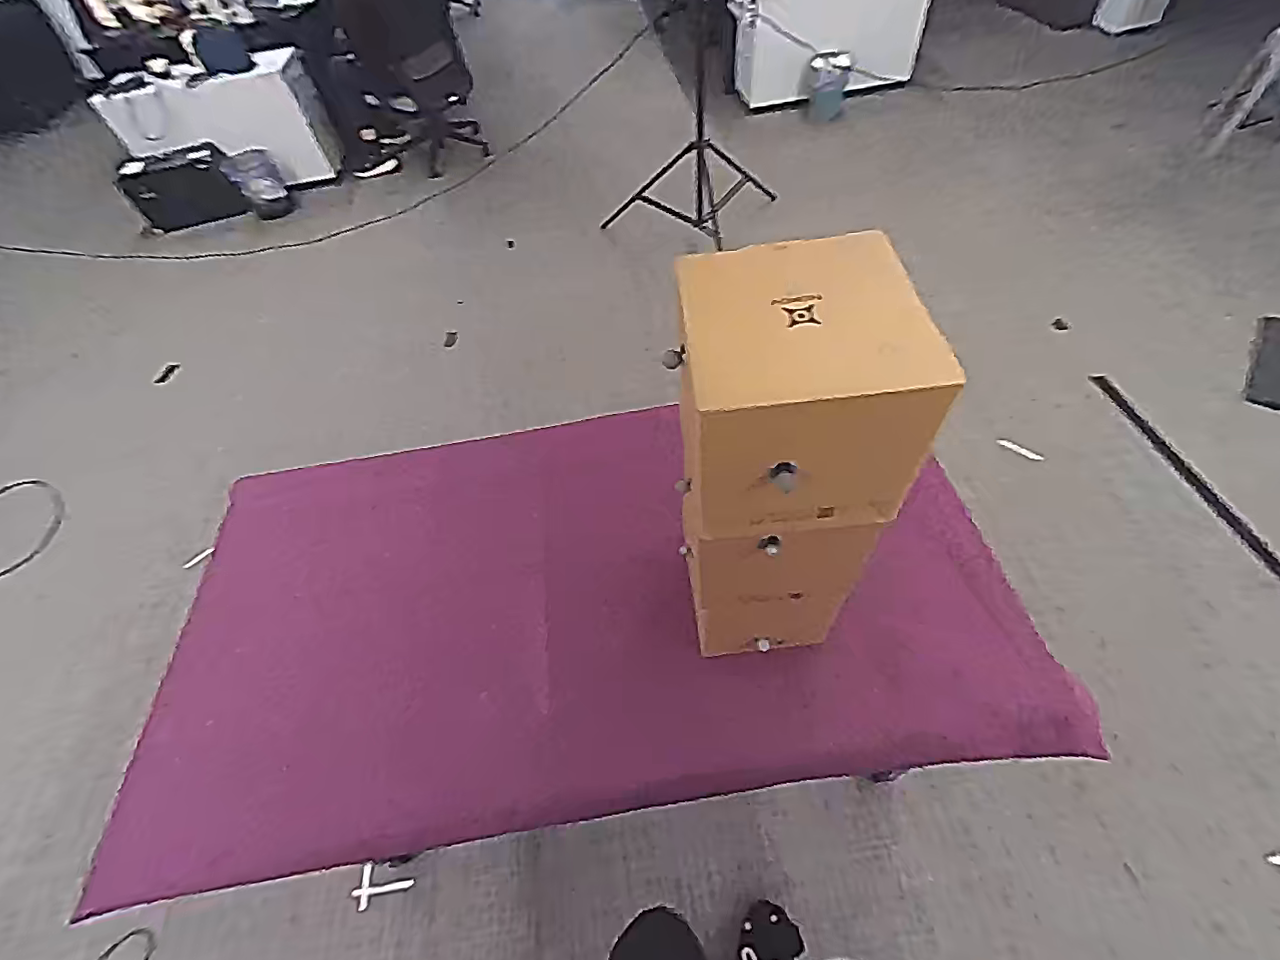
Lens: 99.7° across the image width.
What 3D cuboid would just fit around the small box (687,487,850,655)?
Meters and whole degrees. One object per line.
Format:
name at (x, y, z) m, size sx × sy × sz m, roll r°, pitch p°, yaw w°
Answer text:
small box at (0.154, 0.112, 0.715) m, size 0.168 × 0.176 × 0.179 m, roll -8°, pitch 54°, yaw 2°

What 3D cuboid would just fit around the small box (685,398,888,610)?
small box at (0.137, 0.020, 0.580) m, size 0.168 × 0.176 × 0.179 m, roll -6°, pitch 53°, yaw 4°

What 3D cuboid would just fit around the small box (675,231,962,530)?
small box at (0.122, -0.070, 0.445) m, size 0.168 × 0.176 × 0.179 m, roll -6°, pitch 53°, yaw 4°
